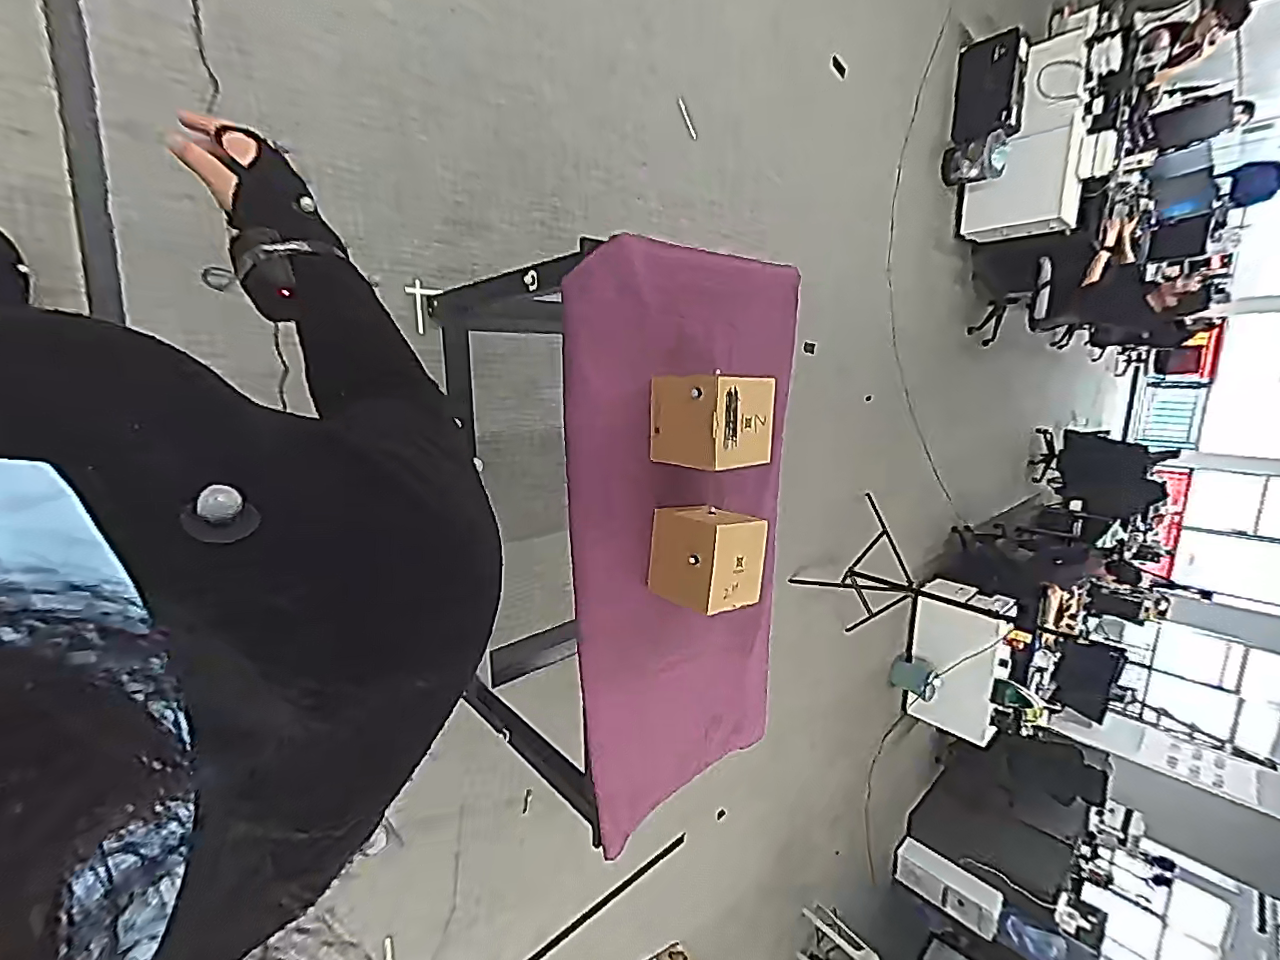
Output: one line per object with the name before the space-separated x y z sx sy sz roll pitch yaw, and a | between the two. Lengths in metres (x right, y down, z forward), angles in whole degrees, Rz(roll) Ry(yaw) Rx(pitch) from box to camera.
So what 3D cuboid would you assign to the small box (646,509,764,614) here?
small box | 0.130 0.155 1.109 0.168 0.176 0.179 1 98 -43
